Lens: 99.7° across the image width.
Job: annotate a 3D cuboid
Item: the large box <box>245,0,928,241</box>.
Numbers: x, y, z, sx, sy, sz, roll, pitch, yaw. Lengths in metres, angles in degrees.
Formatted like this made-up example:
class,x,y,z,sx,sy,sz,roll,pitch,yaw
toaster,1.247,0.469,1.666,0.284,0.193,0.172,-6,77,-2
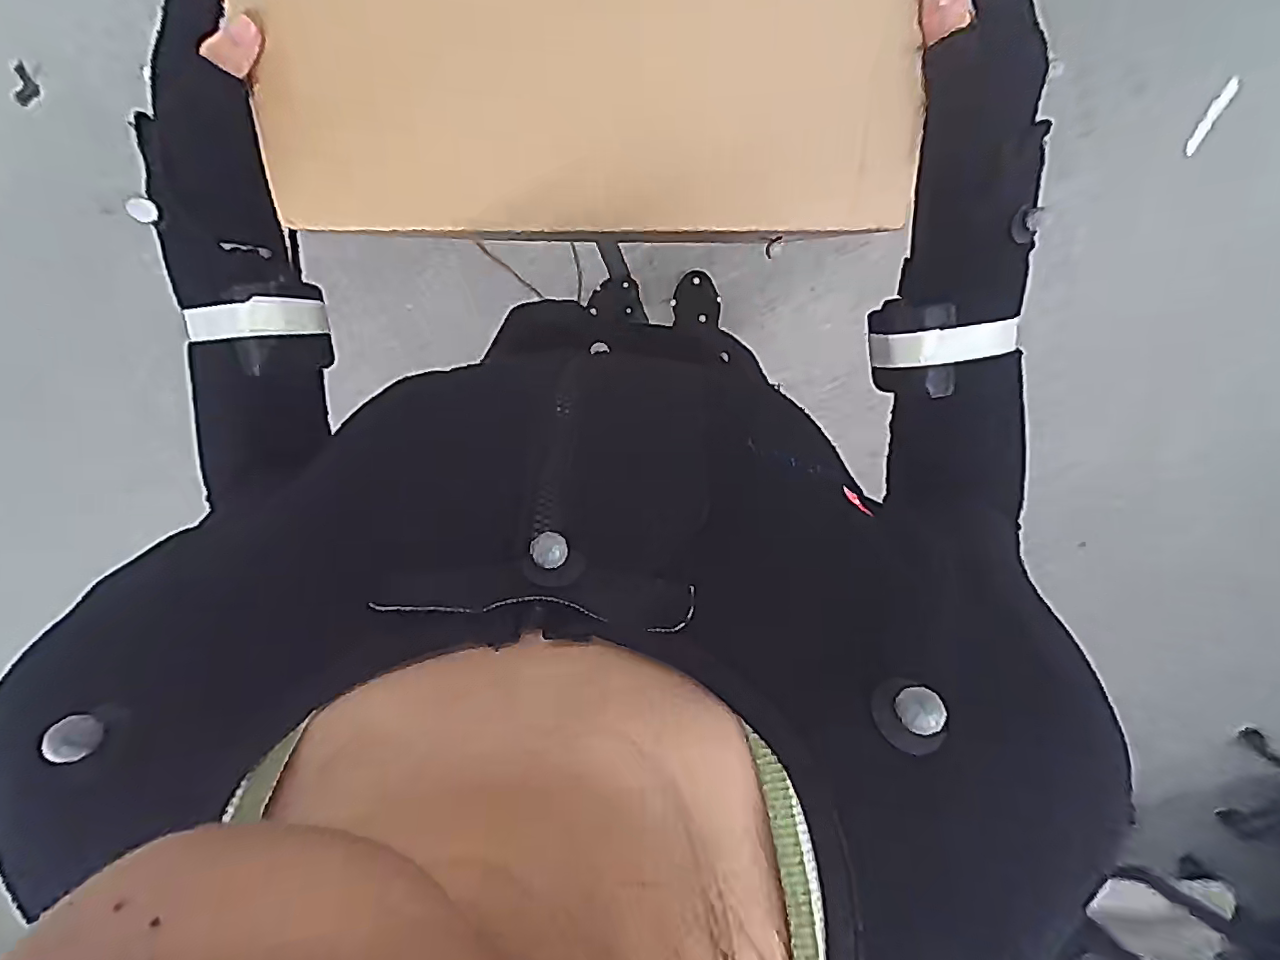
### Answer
class,x,y,z,sx,sy,sz,roll,pitch,yaw
large box,-0.029,-0.367,0.437,0.408,0.320,0.320,0,113,1
